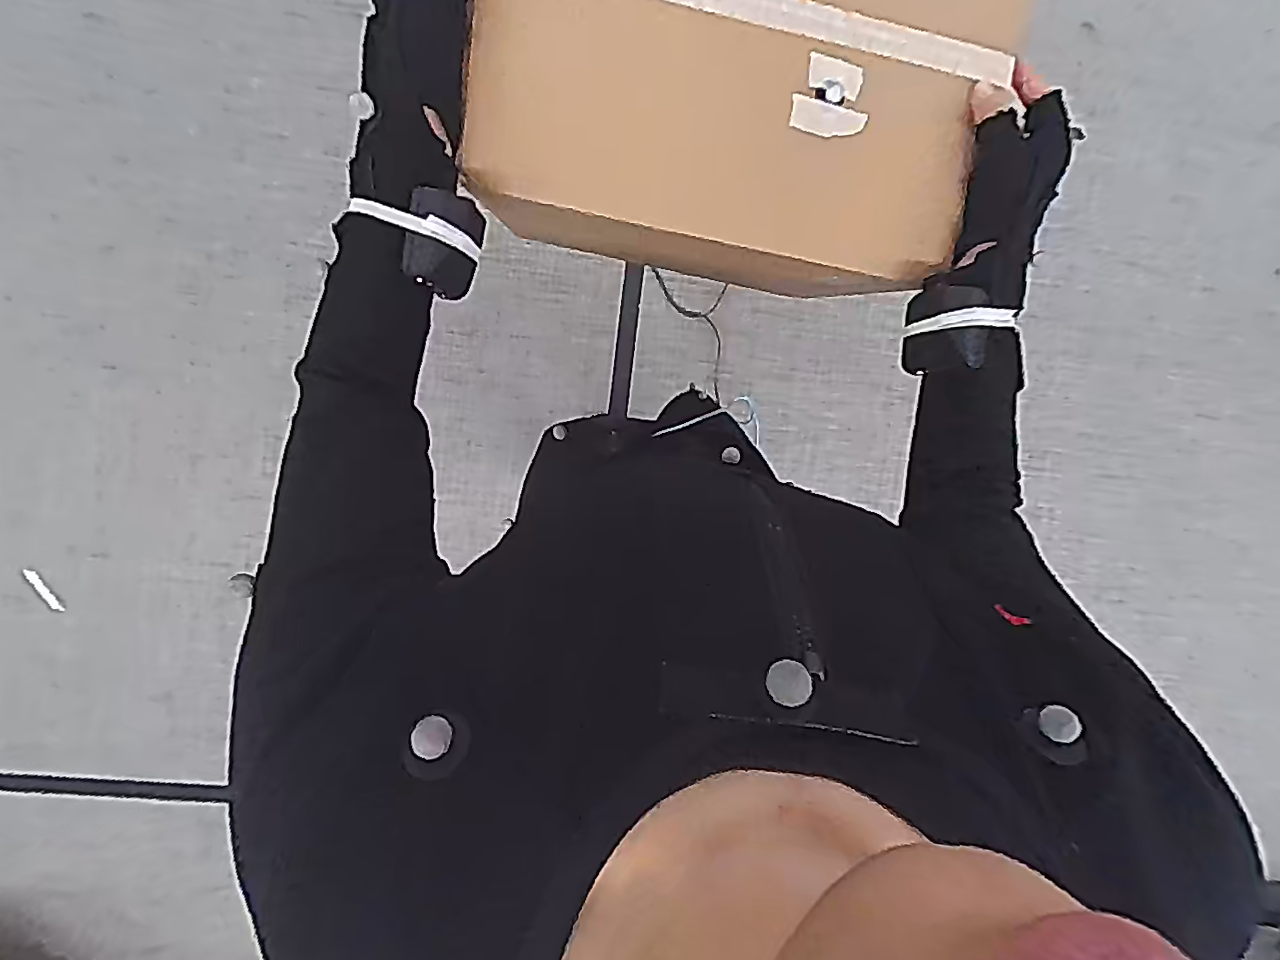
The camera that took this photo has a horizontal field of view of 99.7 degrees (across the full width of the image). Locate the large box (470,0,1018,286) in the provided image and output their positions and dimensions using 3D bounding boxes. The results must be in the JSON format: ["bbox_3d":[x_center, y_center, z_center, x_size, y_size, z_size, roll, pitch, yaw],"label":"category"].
[{"bbox_3d":[0.072,-0.397,0.546,0.408,0.320,0.320,9,107,-8],"label":"large box"}]
